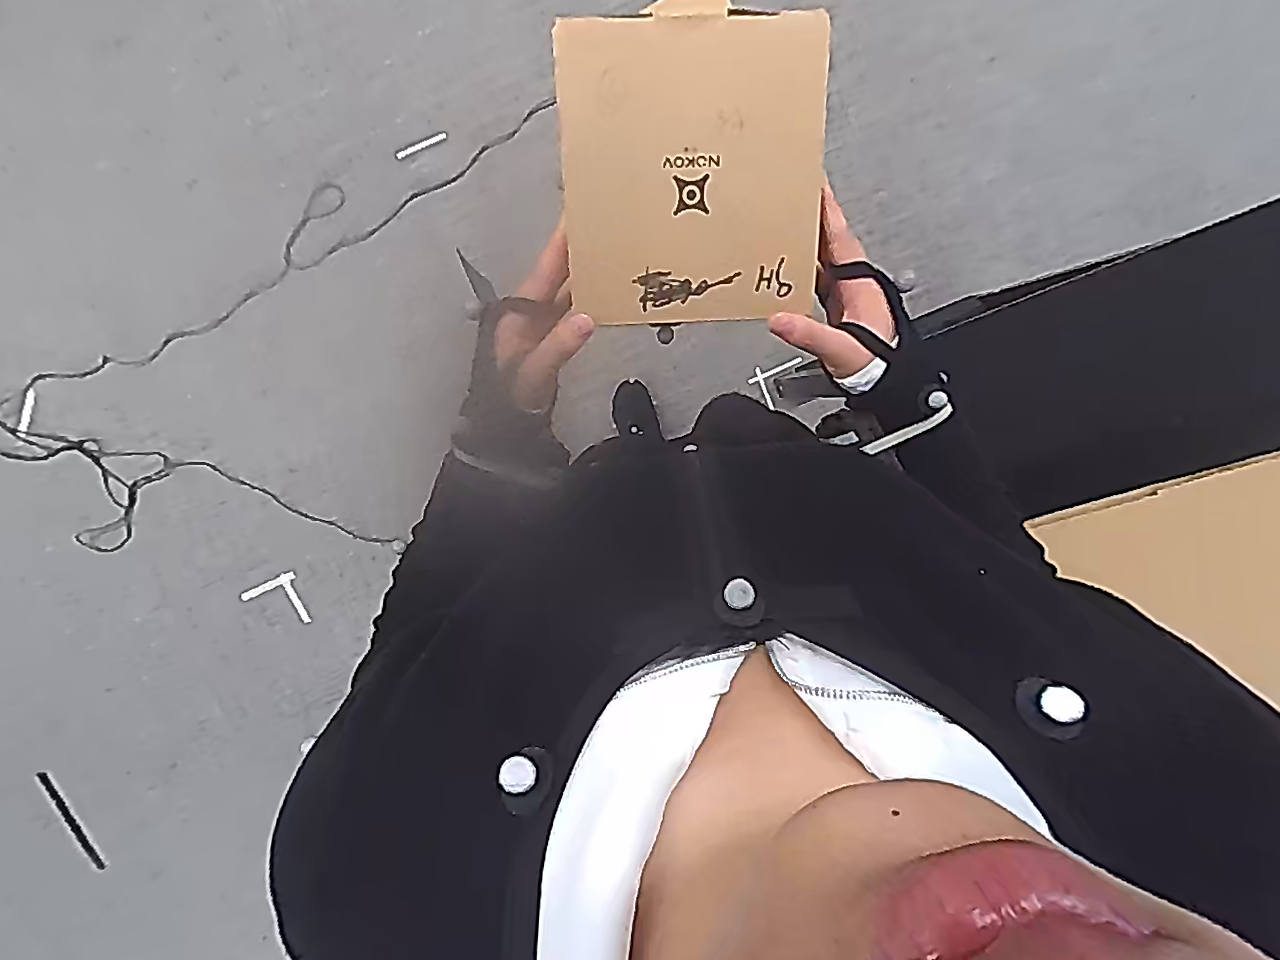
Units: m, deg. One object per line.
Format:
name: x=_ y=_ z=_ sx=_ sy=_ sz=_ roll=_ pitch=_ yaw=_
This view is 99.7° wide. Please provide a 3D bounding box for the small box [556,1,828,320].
small box: x=0.030 y=-0.218 z=0.416 sx=0.168 sy=0.176 sz=0.179 roll=-3 pitch=107 yaw=-1
